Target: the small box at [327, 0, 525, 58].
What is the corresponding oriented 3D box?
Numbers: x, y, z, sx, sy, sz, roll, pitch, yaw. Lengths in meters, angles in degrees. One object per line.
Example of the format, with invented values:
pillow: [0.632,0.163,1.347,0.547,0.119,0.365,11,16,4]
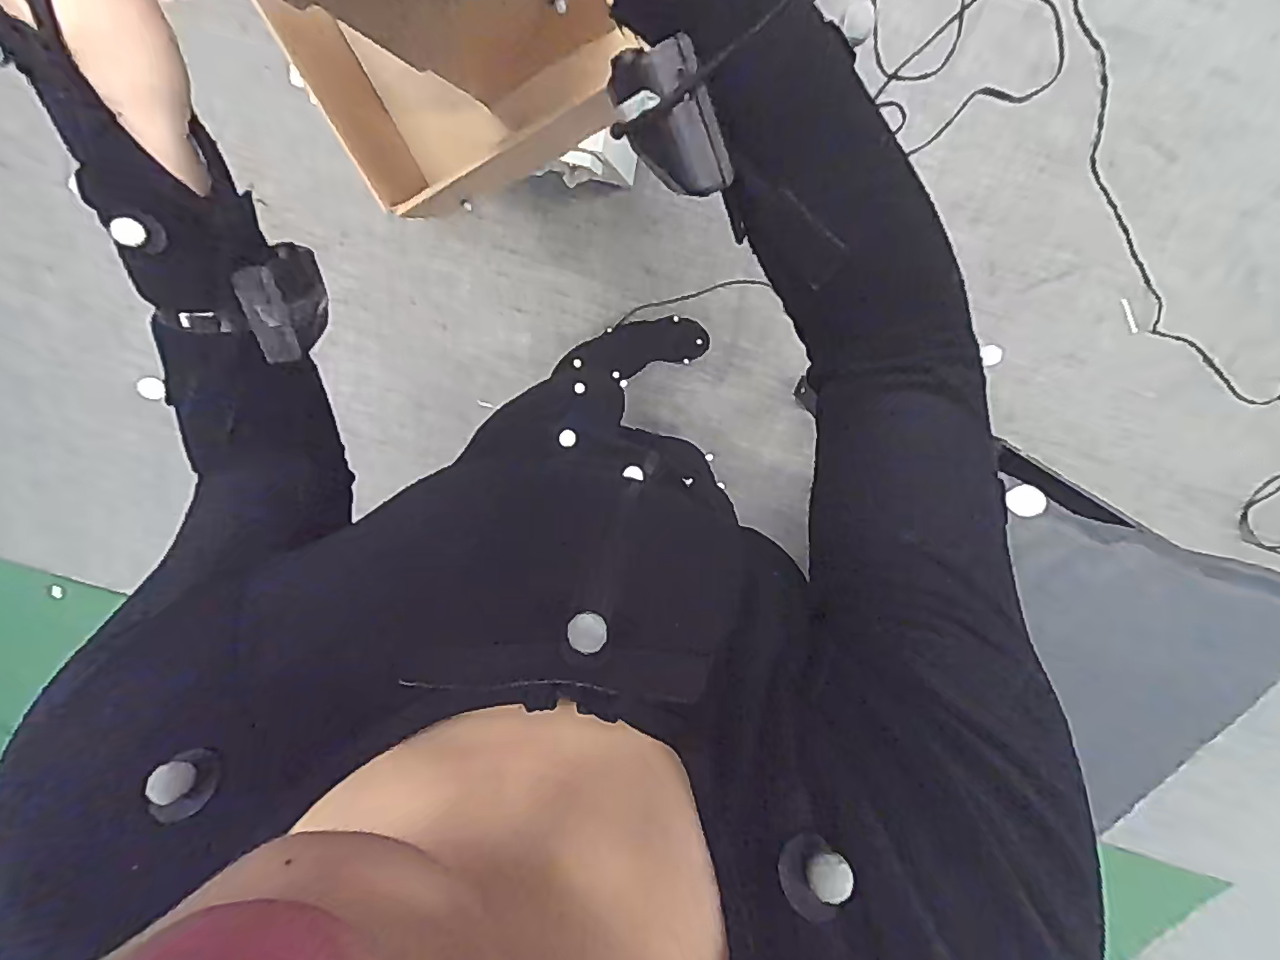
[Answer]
small box: [-0.156,-0.437,0.363,0.179,0.176,0.168,-21,109,15]
